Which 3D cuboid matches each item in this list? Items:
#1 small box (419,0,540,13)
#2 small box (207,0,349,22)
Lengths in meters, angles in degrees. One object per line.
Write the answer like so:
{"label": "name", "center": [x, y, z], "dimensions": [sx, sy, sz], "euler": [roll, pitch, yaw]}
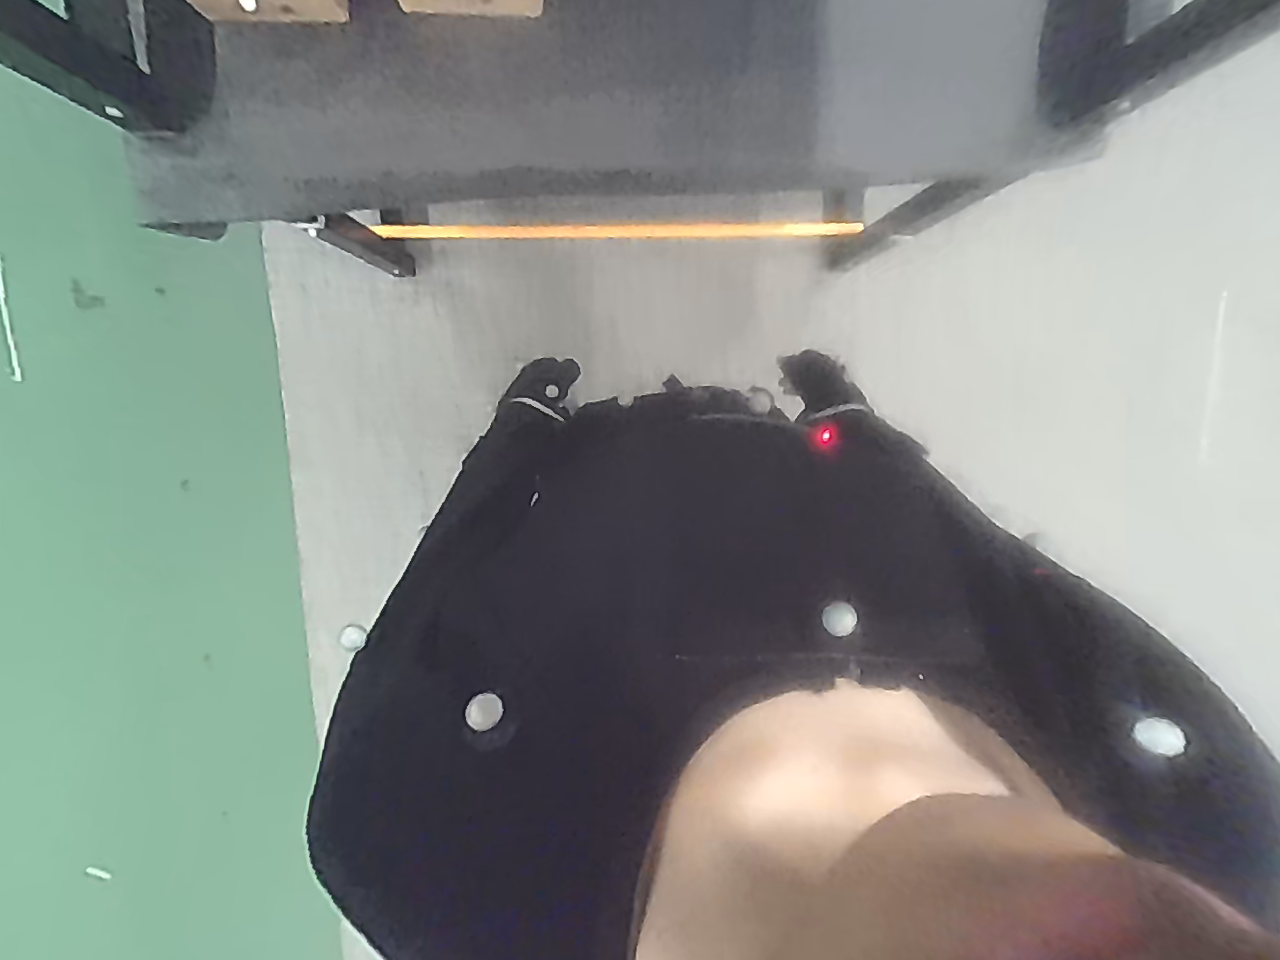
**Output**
{"label": "small box", "center": [-0.195, -0.632, 0.558], "dimensions": [0.168, 0.176, 0.179], "euler": [0, 99, -2]}
{"label": "small box", "center": [-0.422, -0.620, 0.548], "dimensions": [0.168, 0.176, 0.179], "euler": [-1, 99, -2]}
